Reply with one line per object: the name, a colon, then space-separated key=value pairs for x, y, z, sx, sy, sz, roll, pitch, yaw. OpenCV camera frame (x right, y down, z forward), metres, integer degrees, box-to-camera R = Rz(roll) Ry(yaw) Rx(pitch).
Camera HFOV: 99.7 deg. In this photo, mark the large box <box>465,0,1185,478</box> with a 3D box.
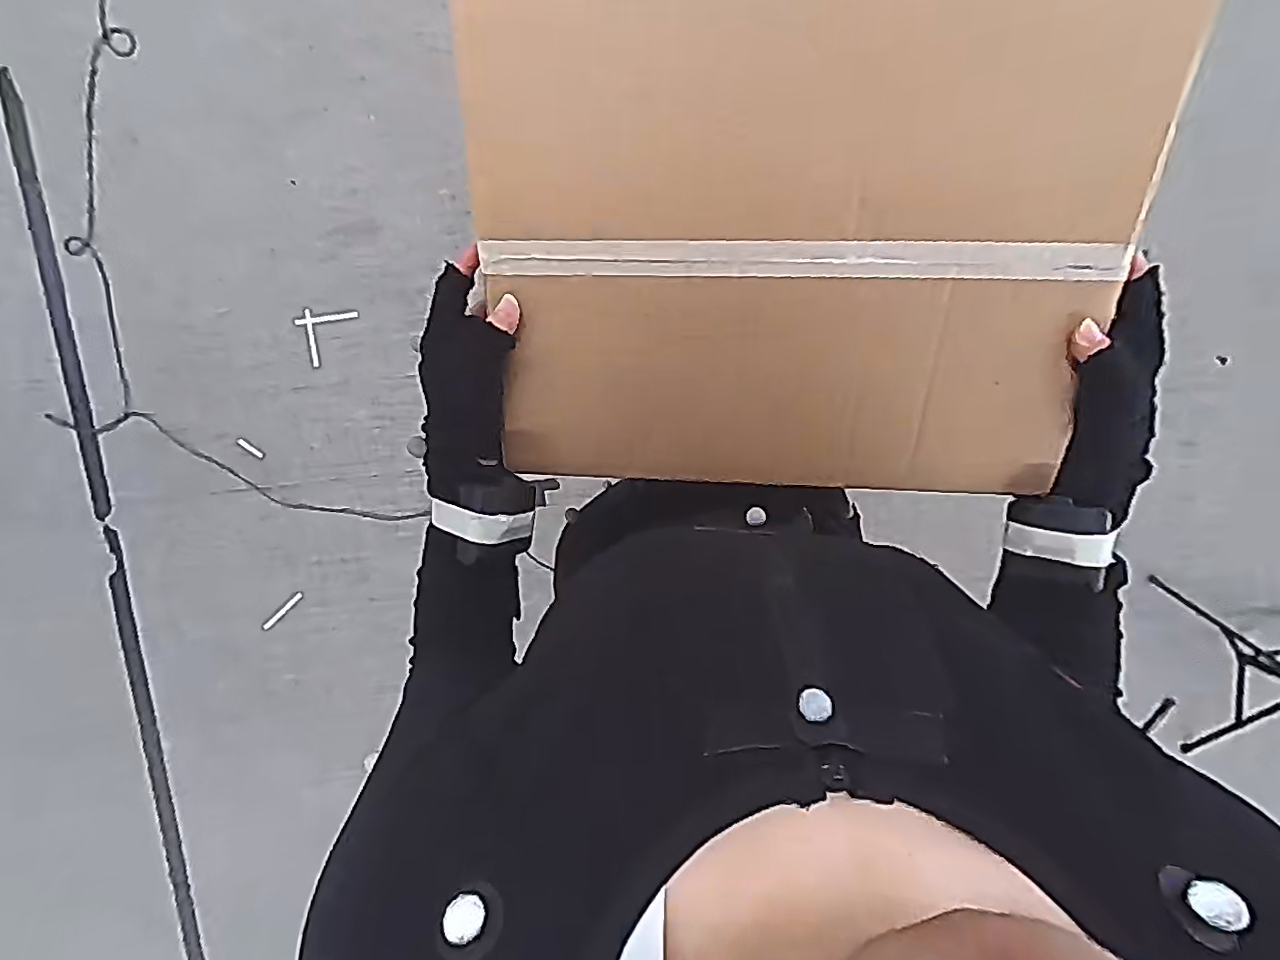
large box: x=0.105 y=-0.207 z=0.493 sx=0.408 sy=0.320 sz=0.320 roll=2 pitch=116 yaw=3
